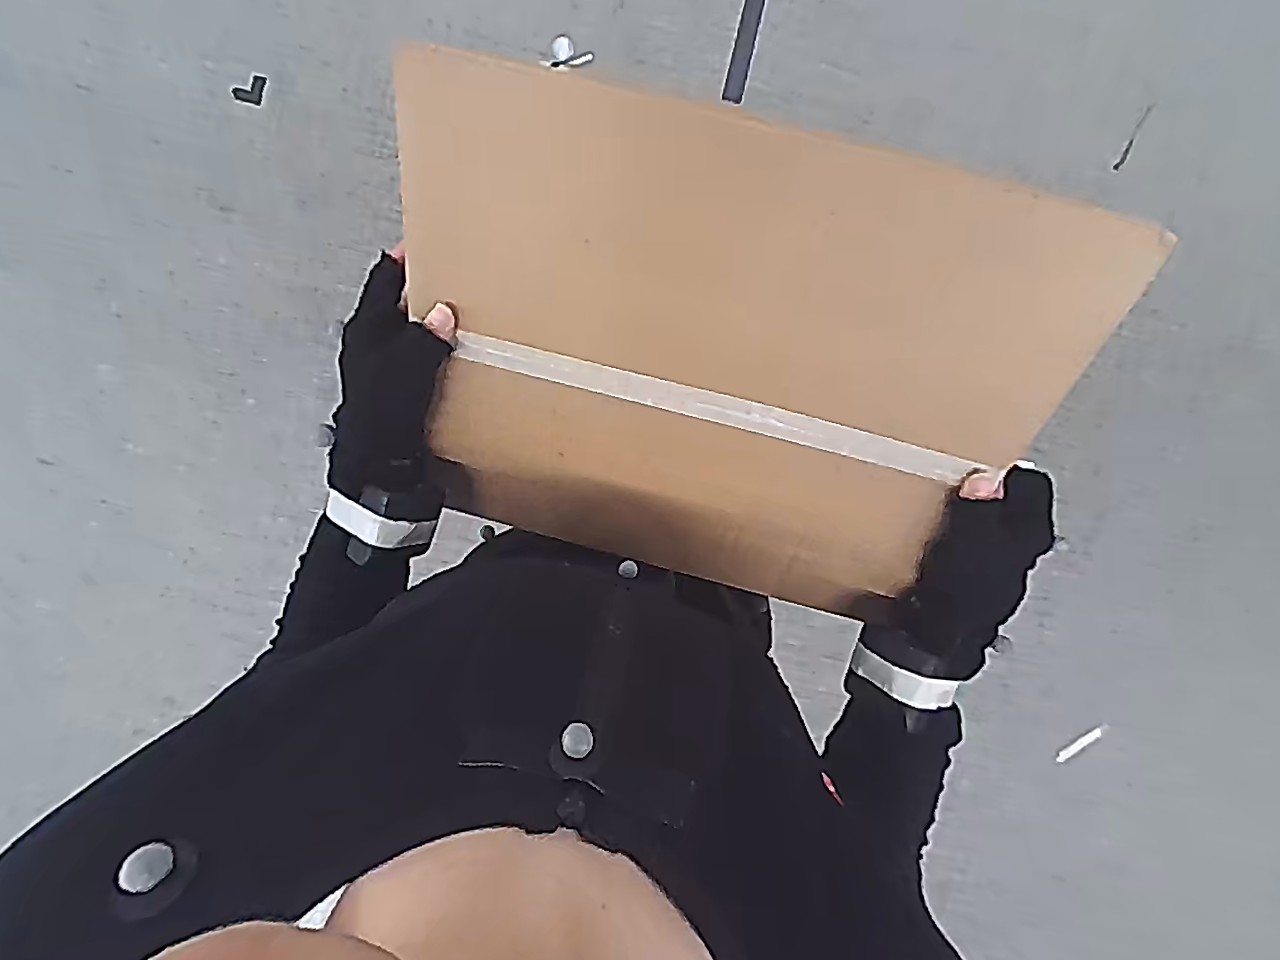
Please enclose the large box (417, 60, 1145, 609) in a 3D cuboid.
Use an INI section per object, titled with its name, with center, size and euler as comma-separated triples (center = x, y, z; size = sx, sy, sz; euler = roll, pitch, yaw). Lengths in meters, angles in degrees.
[large box]
center = 0.067, -0.143, 0.492
size = 0.408, 0.320, 0.320
euler = 15, 128, 1
